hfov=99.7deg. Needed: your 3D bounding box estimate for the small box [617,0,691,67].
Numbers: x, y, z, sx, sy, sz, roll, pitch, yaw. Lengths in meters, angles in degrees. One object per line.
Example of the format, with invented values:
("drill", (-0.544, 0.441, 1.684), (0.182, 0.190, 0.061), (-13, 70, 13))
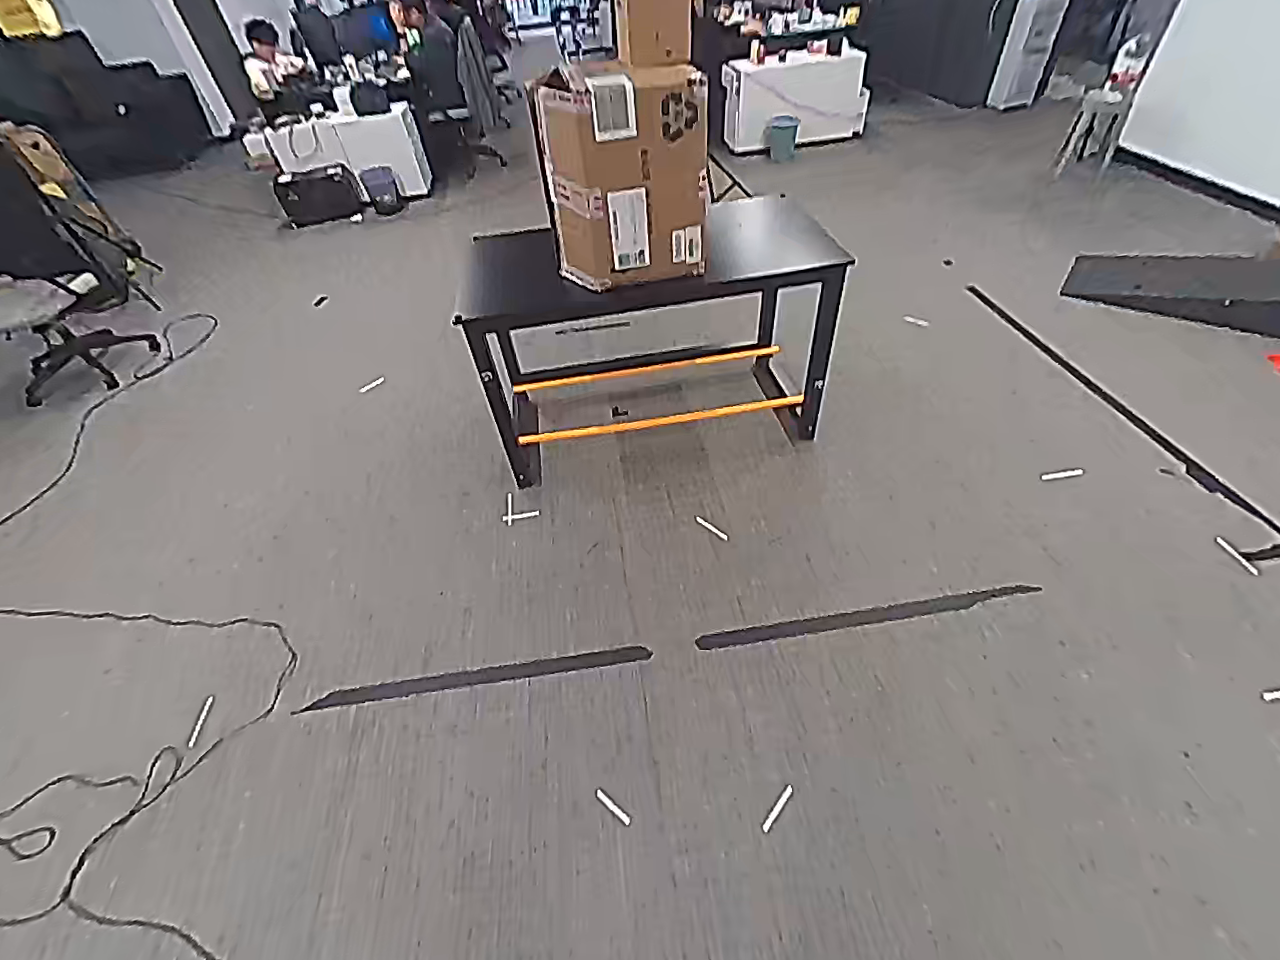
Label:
("small box", (0.034, -1.214, 1.437), (0.168, 0.176, 0.179), (-11, 44, -6))
